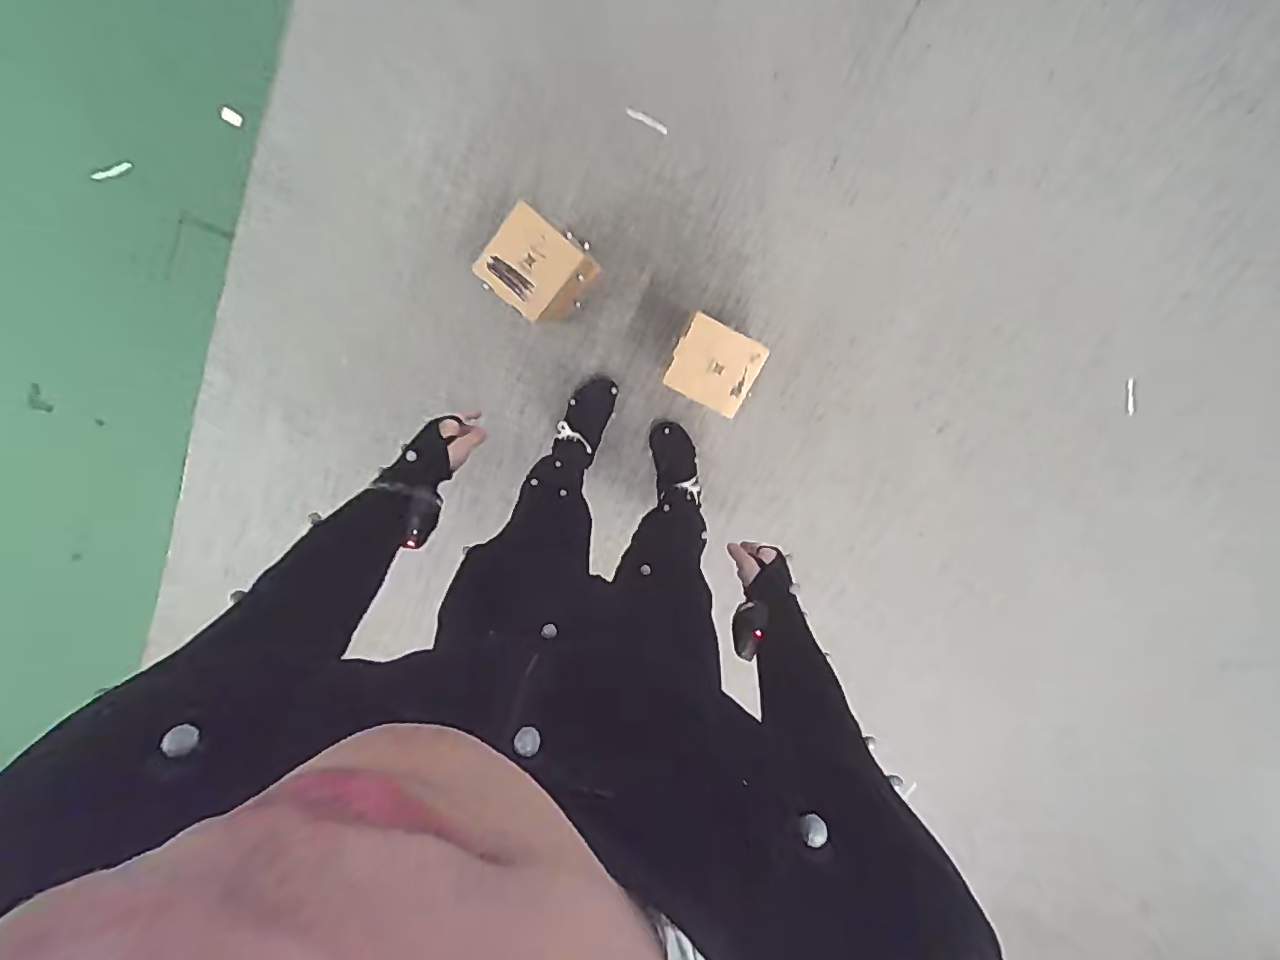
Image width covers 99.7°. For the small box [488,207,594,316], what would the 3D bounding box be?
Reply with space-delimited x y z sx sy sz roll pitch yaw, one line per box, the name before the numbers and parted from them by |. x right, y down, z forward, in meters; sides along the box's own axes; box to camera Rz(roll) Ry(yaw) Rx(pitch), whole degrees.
small box | -0.228 -0.517 1.303 0.179 0.176 0.168 -41 102 13

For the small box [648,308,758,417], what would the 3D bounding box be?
small box | 0.134 -0.260 1.192 0.179 0.176 0.168 29 106 -5
